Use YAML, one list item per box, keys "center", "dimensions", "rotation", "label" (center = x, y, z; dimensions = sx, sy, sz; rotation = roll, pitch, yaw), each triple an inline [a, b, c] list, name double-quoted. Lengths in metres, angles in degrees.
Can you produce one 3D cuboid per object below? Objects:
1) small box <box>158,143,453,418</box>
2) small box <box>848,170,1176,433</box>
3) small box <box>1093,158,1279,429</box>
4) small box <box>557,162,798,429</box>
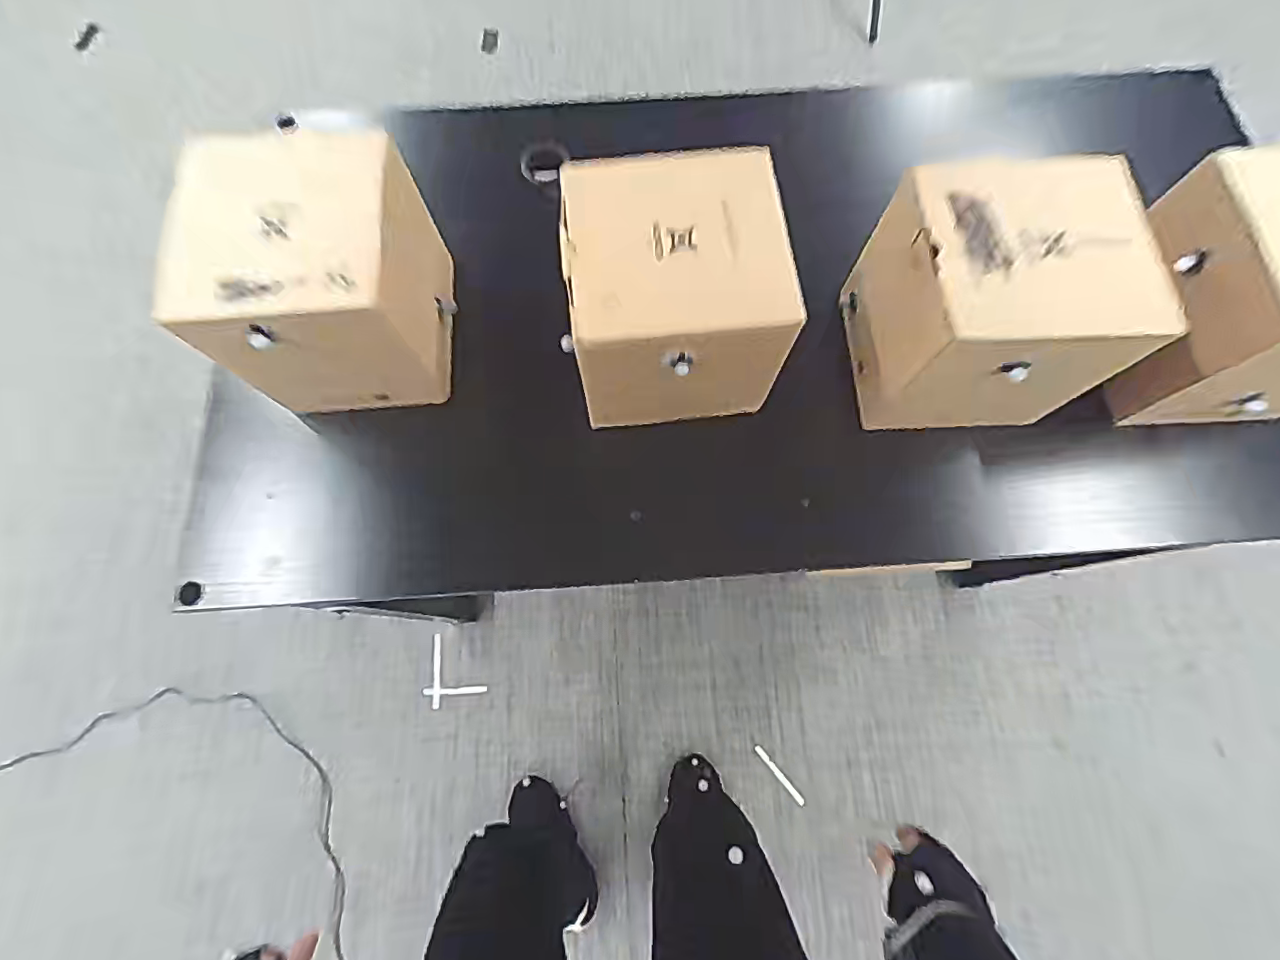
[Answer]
- center: [-0.285, -0.175, 0.506]
  dimensions: [0.168, 0.176, 0.179]
  rotation: [-4, 72, -2]
  label: "small box"
- center: [0.306, -0.149, 0.497]
  dimensions: [0.179, 0.176, 0.168]
  rotation: [-2, 72, 0]
  label: "small box"
- center: [0.551, -0.161, 0.498]
  dimensions: [0.168, 0.176, 0.179]
  rotation: [-2, 72, 1]
  label: "small box"
- center: [0.026, -0.157, 0.502]
  dimensions: [0.179, 0.176, 0.168]
  rotation: [-6, 73, -3]
  label: "small box"
